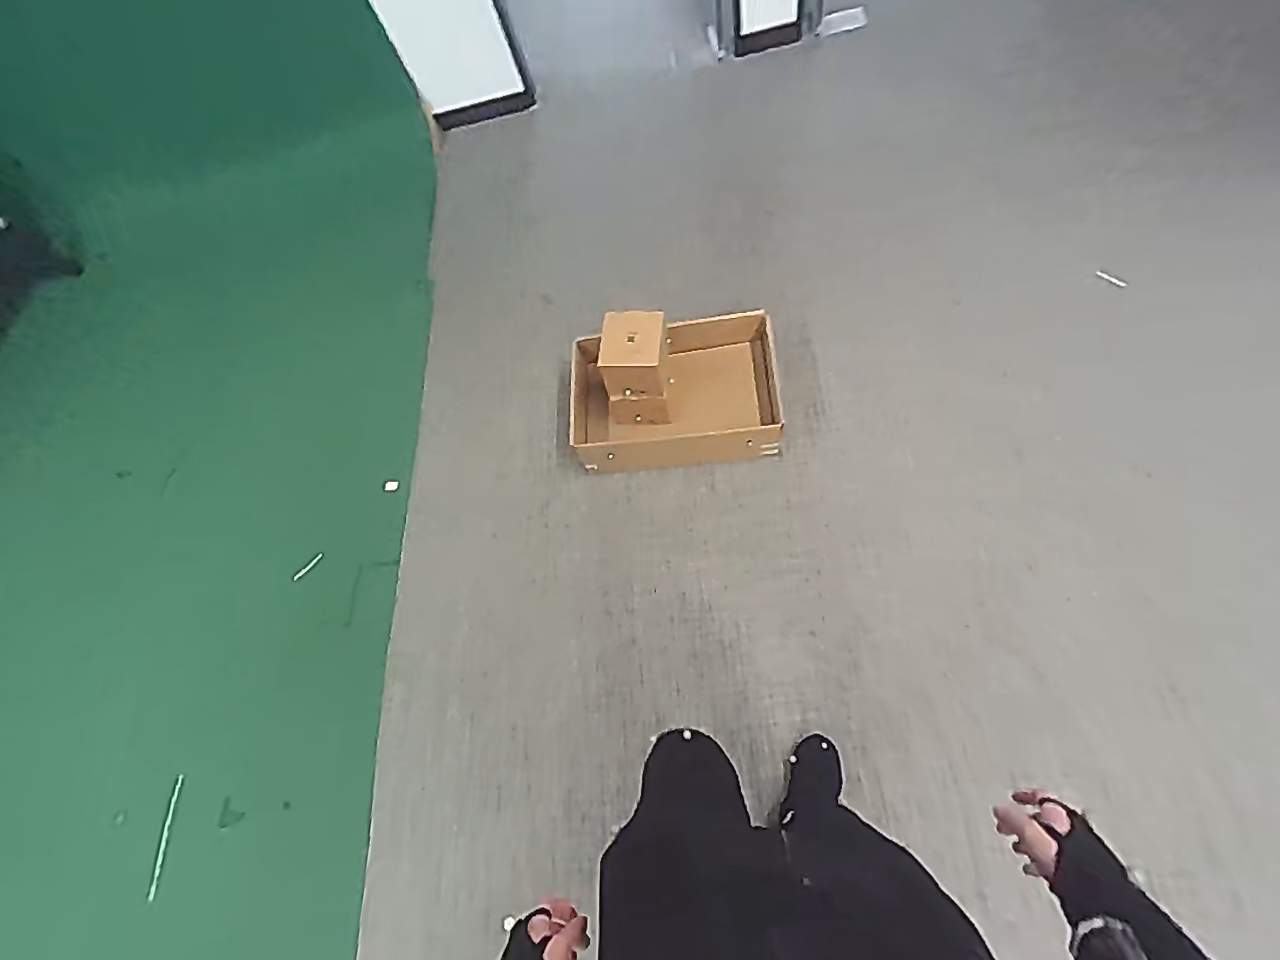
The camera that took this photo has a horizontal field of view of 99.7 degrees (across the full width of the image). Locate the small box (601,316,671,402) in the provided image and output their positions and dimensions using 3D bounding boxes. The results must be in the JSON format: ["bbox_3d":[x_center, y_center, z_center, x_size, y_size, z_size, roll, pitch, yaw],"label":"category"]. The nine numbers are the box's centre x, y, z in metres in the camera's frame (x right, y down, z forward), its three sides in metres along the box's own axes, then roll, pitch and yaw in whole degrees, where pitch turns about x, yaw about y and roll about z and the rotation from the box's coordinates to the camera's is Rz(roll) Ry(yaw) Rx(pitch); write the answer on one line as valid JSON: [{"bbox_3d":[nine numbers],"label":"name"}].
[{"bbox_3d":[-0.004,-0.342,1.533,0.168,0.176,0.179,2,69,10],"label":"small box"}]

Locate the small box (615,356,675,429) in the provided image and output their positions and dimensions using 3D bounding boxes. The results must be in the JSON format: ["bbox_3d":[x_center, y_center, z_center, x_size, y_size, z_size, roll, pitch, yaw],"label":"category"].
[{"bbox_3d":[0.019,-0.275,1.680,0.168,0.176,0.179,-1,68,8],"label":"small box"}]
